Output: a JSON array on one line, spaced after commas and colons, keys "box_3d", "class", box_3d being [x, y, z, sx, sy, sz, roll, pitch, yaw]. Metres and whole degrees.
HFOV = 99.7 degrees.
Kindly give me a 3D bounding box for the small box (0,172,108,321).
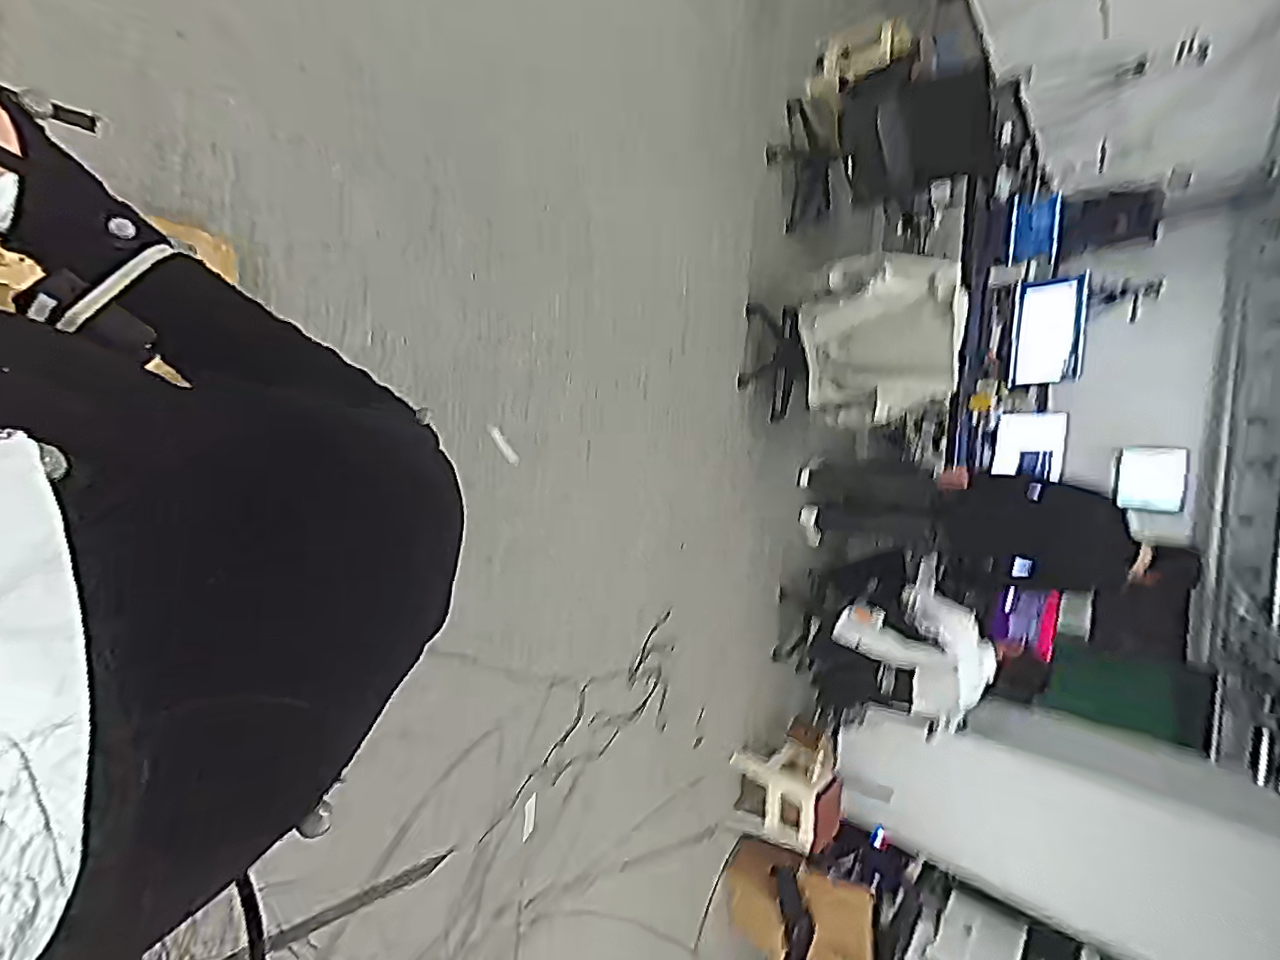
[{"box_3d": [-0.991, -0.374, 0.880, 0.168, 0.176, 0.179, 2, 91, -47], "class": "small box"}]
